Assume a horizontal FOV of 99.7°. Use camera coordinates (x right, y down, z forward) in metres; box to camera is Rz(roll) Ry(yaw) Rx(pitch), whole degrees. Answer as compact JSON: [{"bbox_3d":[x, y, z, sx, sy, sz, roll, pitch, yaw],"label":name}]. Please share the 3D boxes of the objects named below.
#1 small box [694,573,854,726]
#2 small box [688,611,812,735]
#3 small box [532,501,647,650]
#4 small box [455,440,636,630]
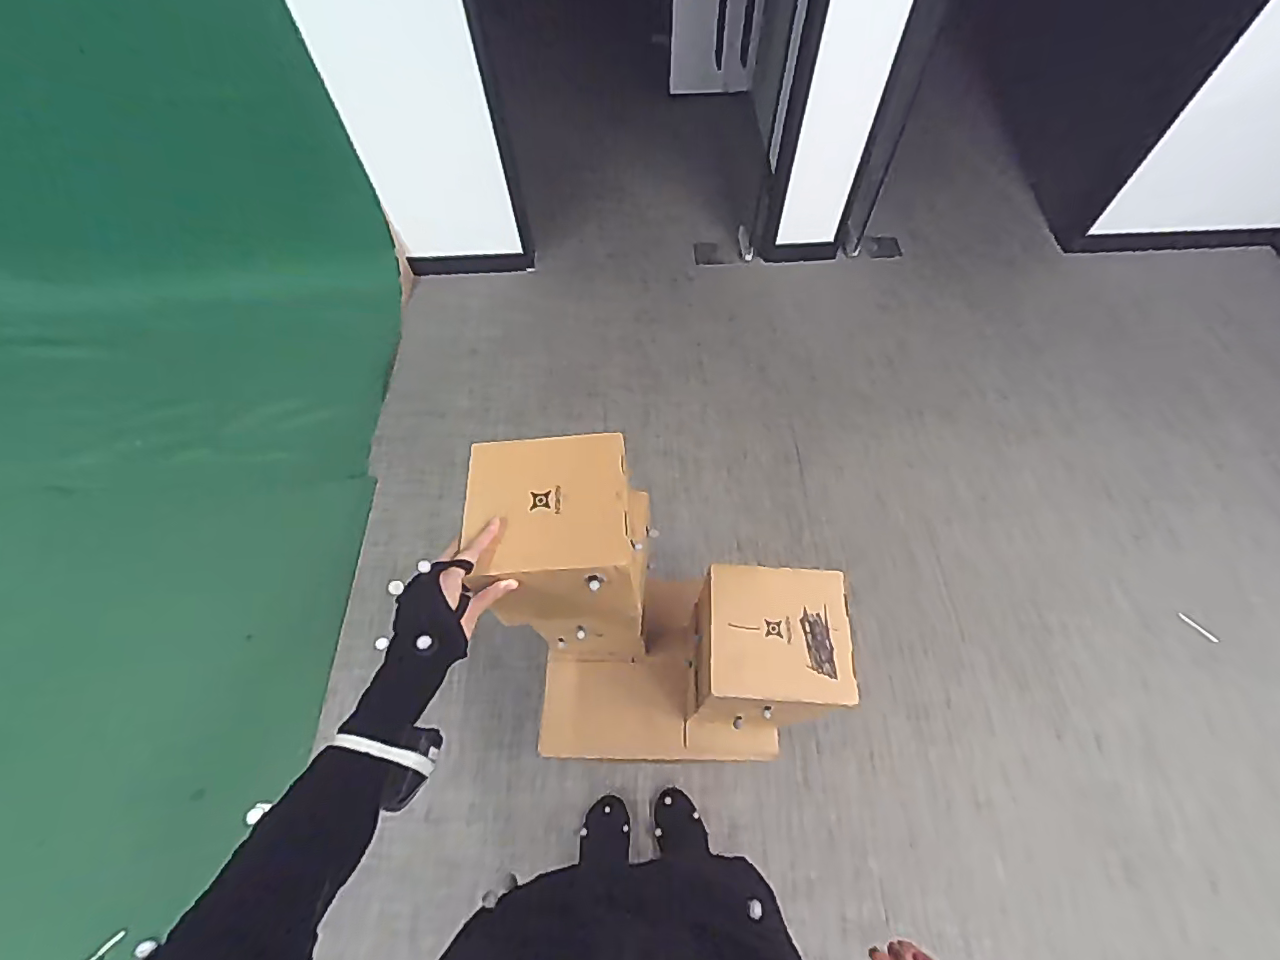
[{"bbox_3d":[0.170,0.237,0.740,0.179,0.176,0.168,3,61,3],"label":"small box"},{"bbox_3d":[0.168,0.319,0.882,0.179,0.176,0.168,2,62,3],"label":"small box"},{"bbox_3d":[-0.079,0.139,0.804,0.168,0.176,0.179,4,61,5],"label":"small box"},{"bbox_3d":[-0.101,0.073,0.651,0.179,0.176,0.168,-5,57,0],"label":"small box"}]
